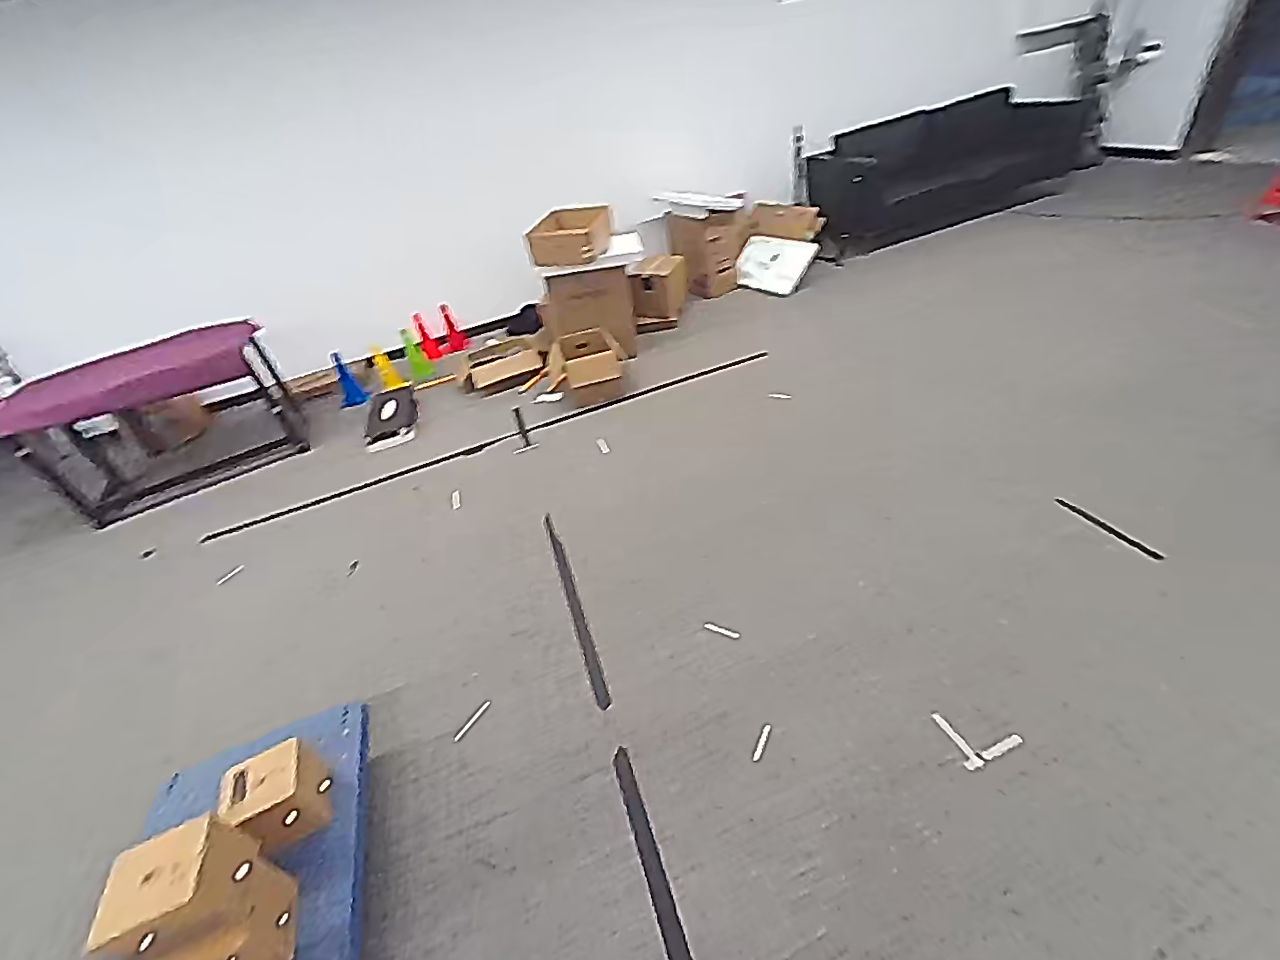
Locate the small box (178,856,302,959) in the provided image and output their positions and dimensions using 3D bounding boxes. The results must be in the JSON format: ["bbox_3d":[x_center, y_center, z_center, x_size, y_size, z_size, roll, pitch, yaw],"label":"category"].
[{"bbox_3d":[-0.856,0.950,1.141,0.179,0.176,0.168,-22,37,-13],"label":"small box"}]

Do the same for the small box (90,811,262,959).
[{"bbox_3d":[-0.895,0.807,1.065,0.179,0.176,0.168,-22,37,-13],"label":"small box"}]
